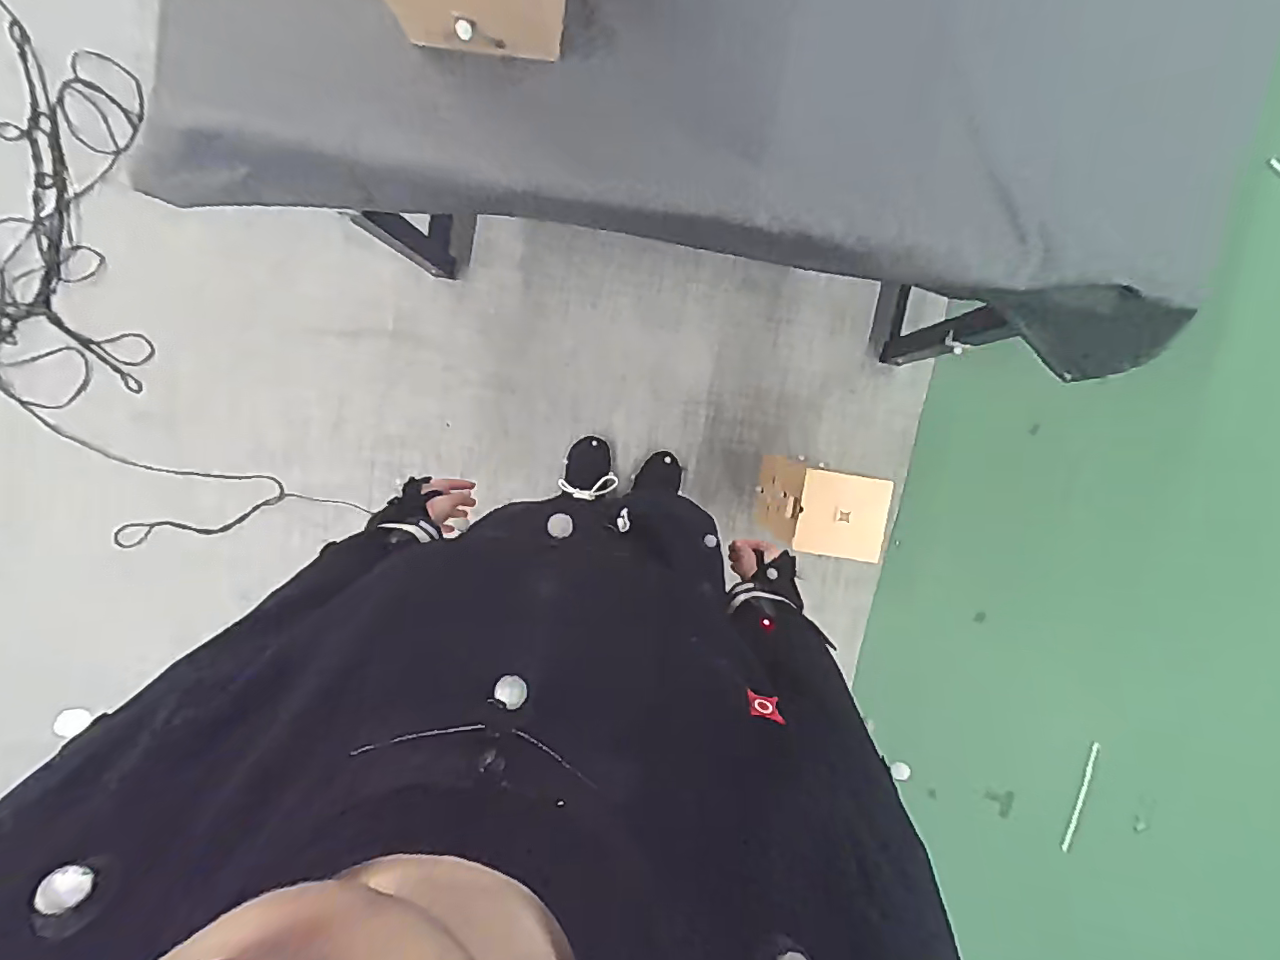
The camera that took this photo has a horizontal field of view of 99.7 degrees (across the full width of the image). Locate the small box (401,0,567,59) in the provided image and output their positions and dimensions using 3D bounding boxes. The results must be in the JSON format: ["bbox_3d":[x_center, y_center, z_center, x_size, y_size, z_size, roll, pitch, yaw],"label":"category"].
[{"bbox_3d":[-0.157,-0.552,0.508,0.168,0.176,0.179,7,96,1],"label":"small box"}]

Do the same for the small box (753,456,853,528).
[{"bbox_3d":[0.379,0.037,1.288,0.179,0.176,0.168,10,95,0],"label":"small box"}]

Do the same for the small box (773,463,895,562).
[{"bbox_3d":[0.394,0.059,1.124,0.179,0.176,0.168,9,96,0],"label":"small box"}]
